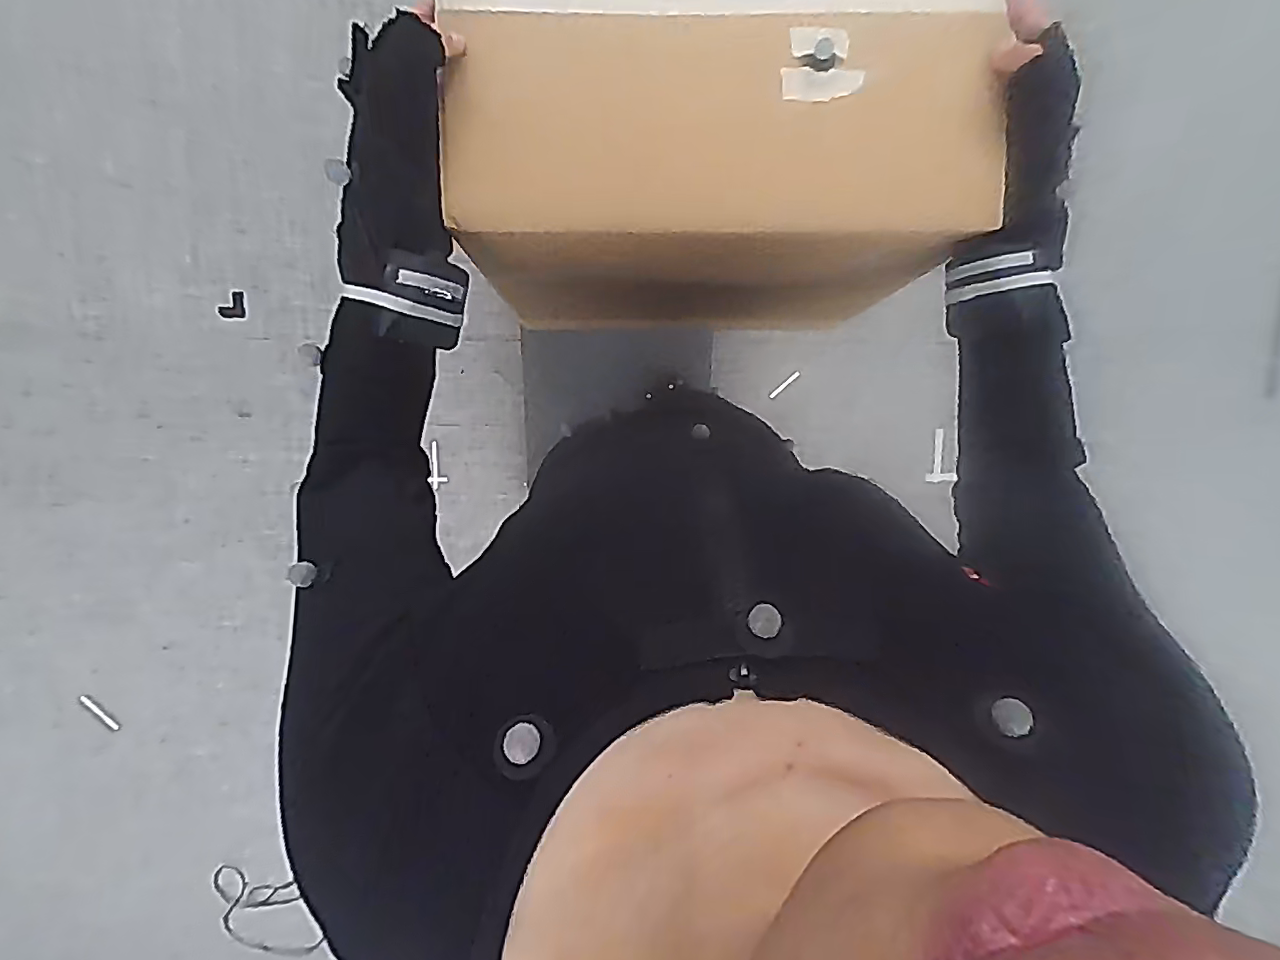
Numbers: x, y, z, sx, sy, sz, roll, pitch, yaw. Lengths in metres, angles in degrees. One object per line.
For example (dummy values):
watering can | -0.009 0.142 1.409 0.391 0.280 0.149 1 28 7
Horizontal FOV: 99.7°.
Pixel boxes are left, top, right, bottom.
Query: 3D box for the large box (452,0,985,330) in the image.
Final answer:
large box | 0.053 -0.347 0.548 0.408 0.320 0.320 -1 92 -2
